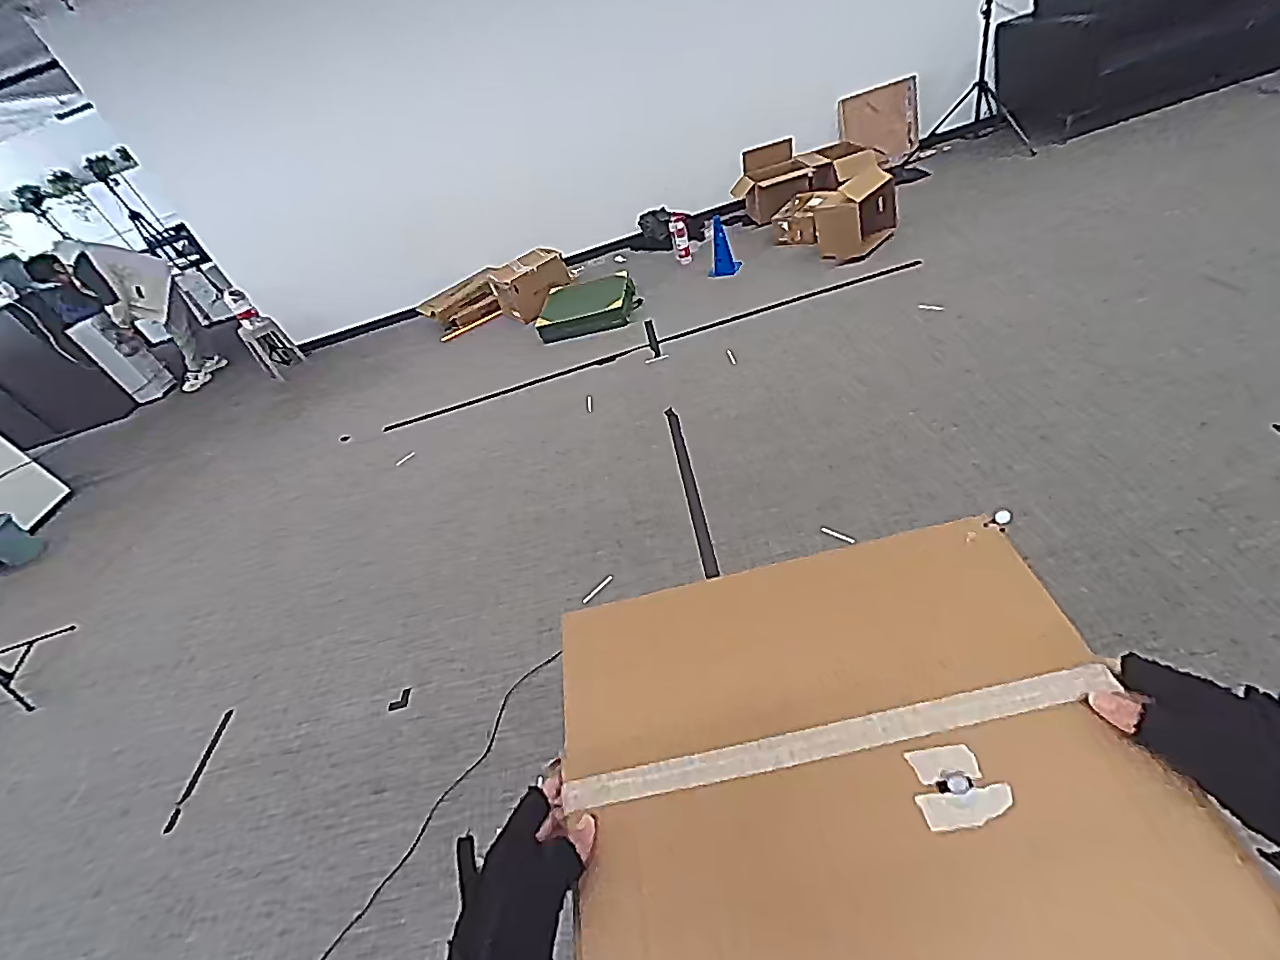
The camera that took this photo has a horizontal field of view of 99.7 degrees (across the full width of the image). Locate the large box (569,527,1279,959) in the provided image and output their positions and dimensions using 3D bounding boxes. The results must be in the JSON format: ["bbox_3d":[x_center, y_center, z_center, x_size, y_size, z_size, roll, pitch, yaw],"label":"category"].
[{"bbox_3d":[0.175,0.300,0.515,0.408,0.320,0.320,-14,47,3],"label":"large box"}]
